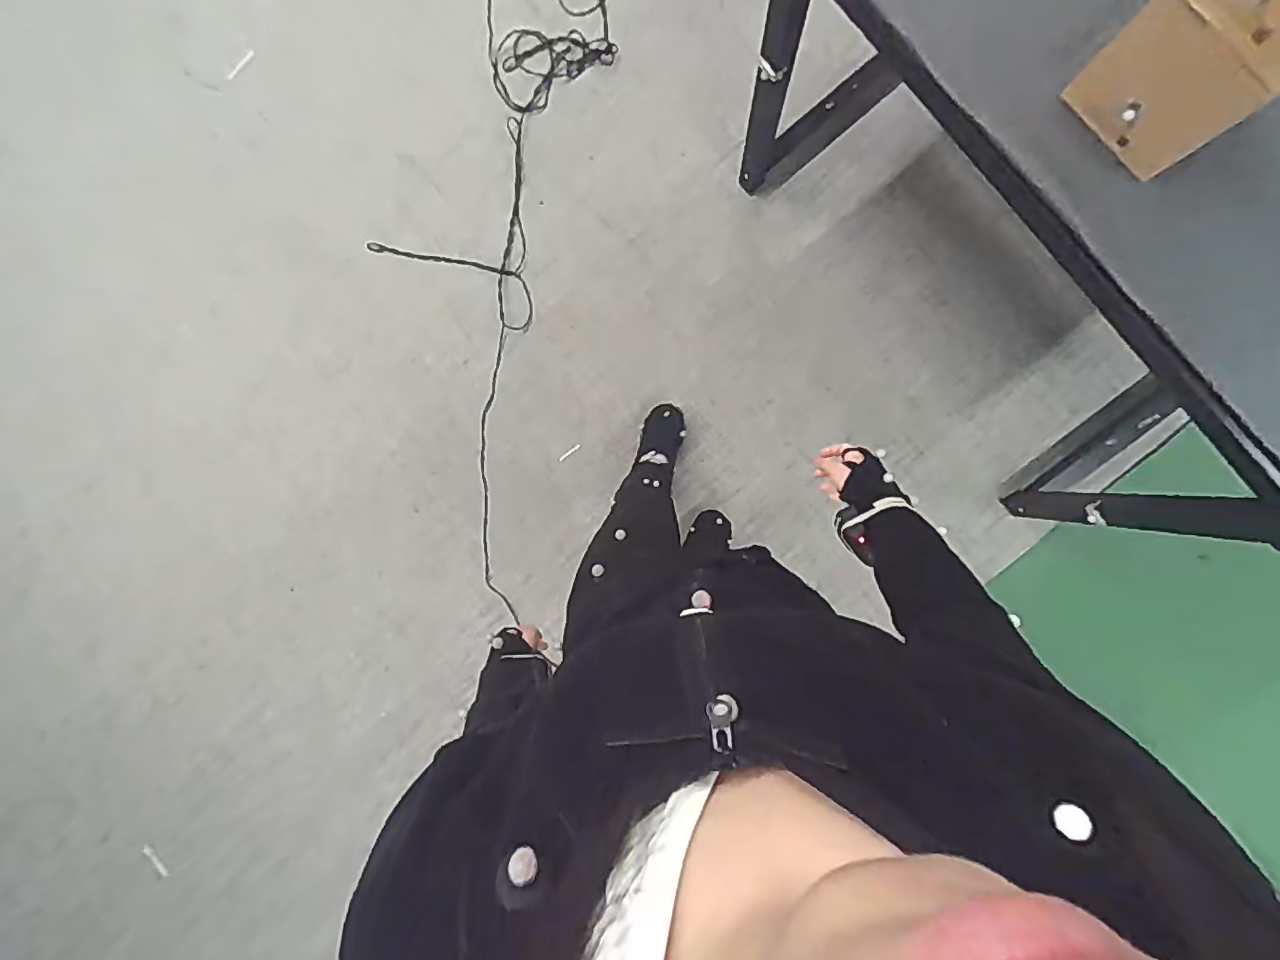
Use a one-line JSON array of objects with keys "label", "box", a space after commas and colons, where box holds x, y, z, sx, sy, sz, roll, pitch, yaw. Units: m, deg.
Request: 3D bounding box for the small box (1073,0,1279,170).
[{"label": "small box", "box": [0.676, -0.517, 0.630, 0.179, 0.176, 0.168, -40, 86, 3]}]
